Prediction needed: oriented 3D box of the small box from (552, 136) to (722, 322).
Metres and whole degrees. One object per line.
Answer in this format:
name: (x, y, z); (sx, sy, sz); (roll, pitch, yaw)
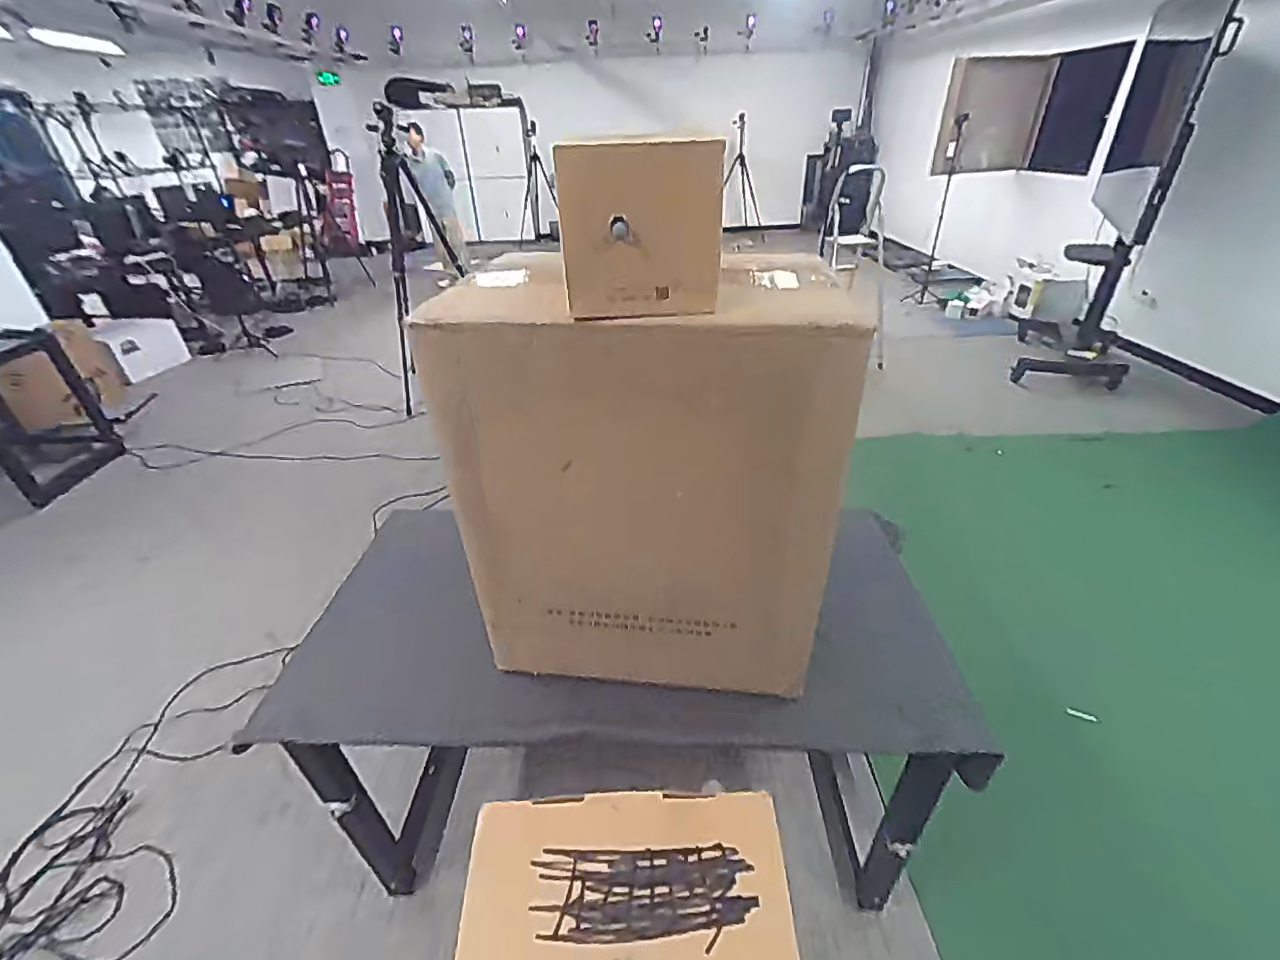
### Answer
small box: (-0.001, -0.286, 0.620); (0.168, 0.176, 0.179); (-3, 35, 0)
